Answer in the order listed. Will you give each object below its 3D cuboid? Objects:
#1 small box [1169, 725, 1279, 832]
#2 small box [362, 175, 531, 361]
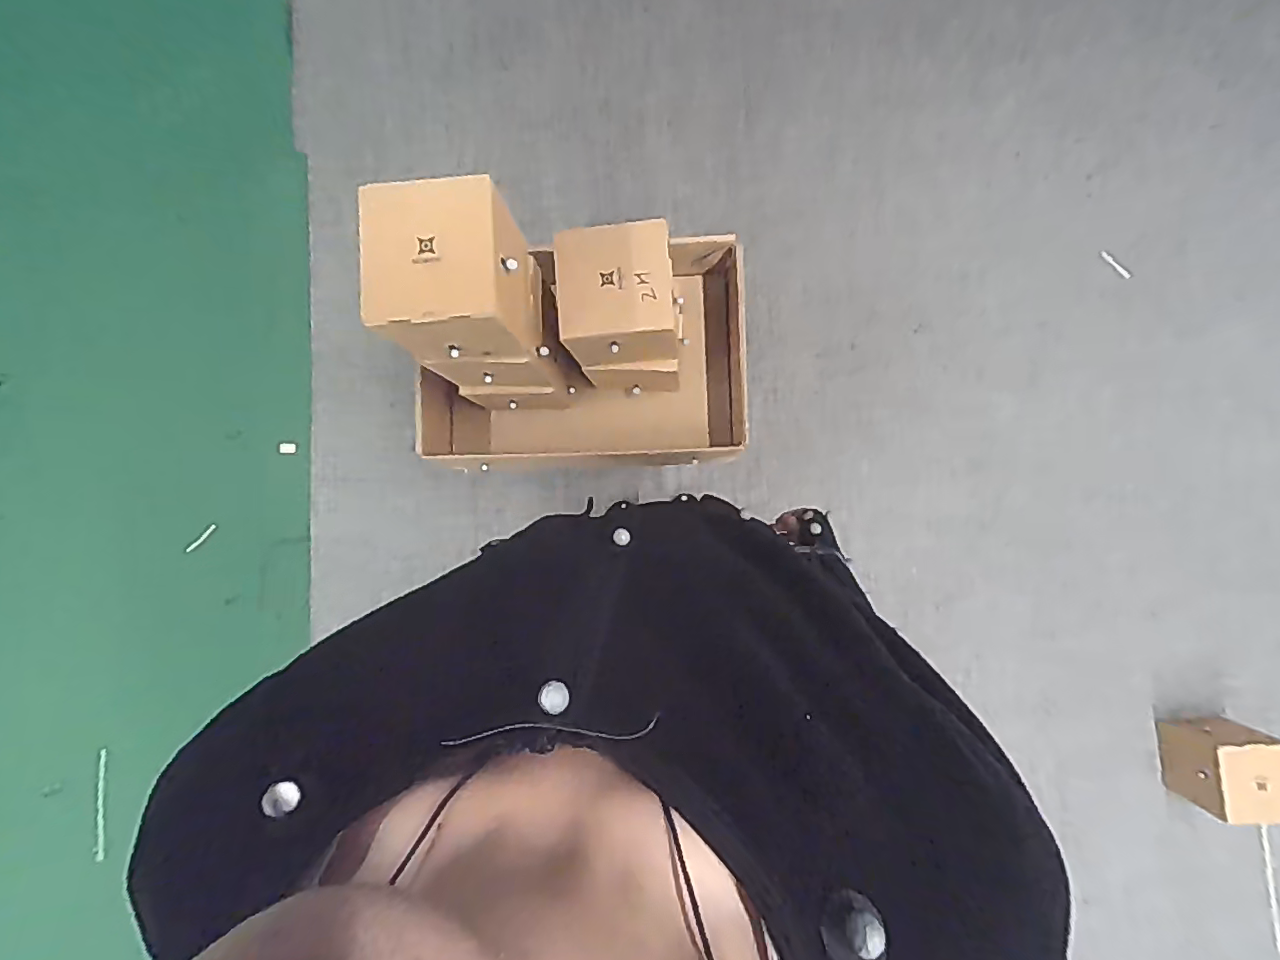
[{"bbox_3d":[1.417,0.697,1.282,0.168,0.176,0.179,-4,87,5],"label":"small box"},{"bbox_3d":[-0.249,-0.272,0.726,0.168,0.176,0.179,-3,87,3],"label":"small box"}]
